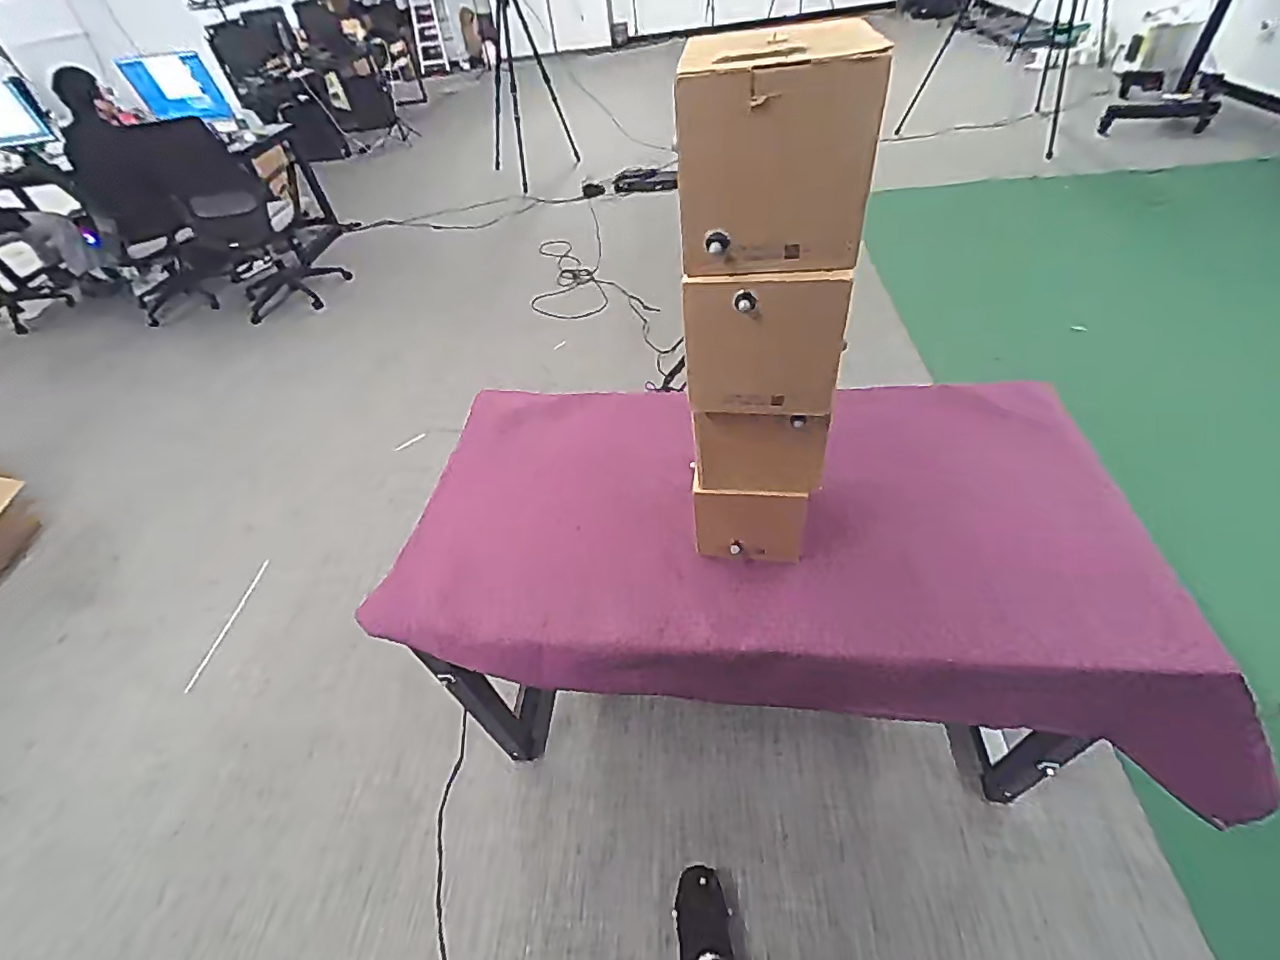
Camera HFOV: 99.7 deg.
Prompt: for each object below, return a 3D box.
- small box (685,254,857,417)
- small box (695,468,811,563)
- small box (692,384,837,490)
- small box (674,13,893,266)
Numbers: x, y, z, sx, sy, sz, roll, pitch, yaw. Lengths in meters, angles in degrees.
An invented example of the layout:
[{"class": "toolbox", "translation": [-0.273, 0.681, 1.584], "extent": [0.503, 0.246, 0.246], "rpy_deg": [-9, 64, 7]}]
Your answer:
[{"class": "small box", "translation": [0.148, -0.195, 0.629], "extent": [0.168, 0.176, 0.179], "rpy_deg": [3, 47, 13]}, {"class": "small box", "translation": [0.183, 0.011, 0.879], "extent": [0.168, 0.176, 0.179], "rpy_deg": [2, 48, 12]}, {"class": "small box", "translation": [0.171, -0.100, 0.763], "extent": [0.179, 0.176, 0.168], "rpy_deg": [1, 47, 11]}, {"class": "small box", "translation": [0.128, -0.319, 0.521], "extent": [0.168, 0.176, 0.179], "rpy_deg": [1, 46, 10]}]
